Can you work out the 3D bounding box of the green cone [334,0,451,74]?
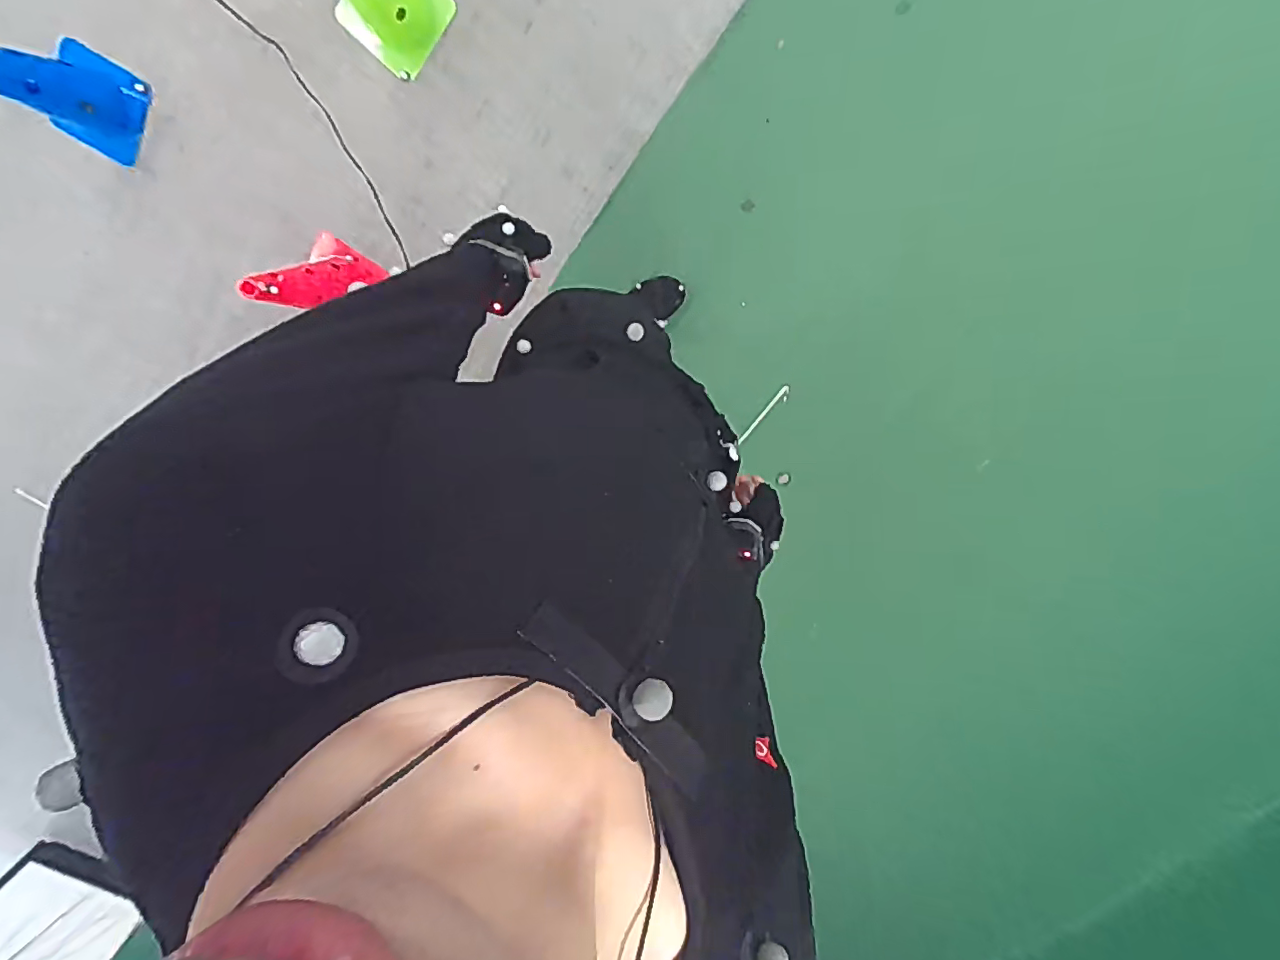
[{"bbox_3d":[-0.536,-0.973,1.006,0.202,0.368,0.200,39,106,-12],"label":"green cone"}]
